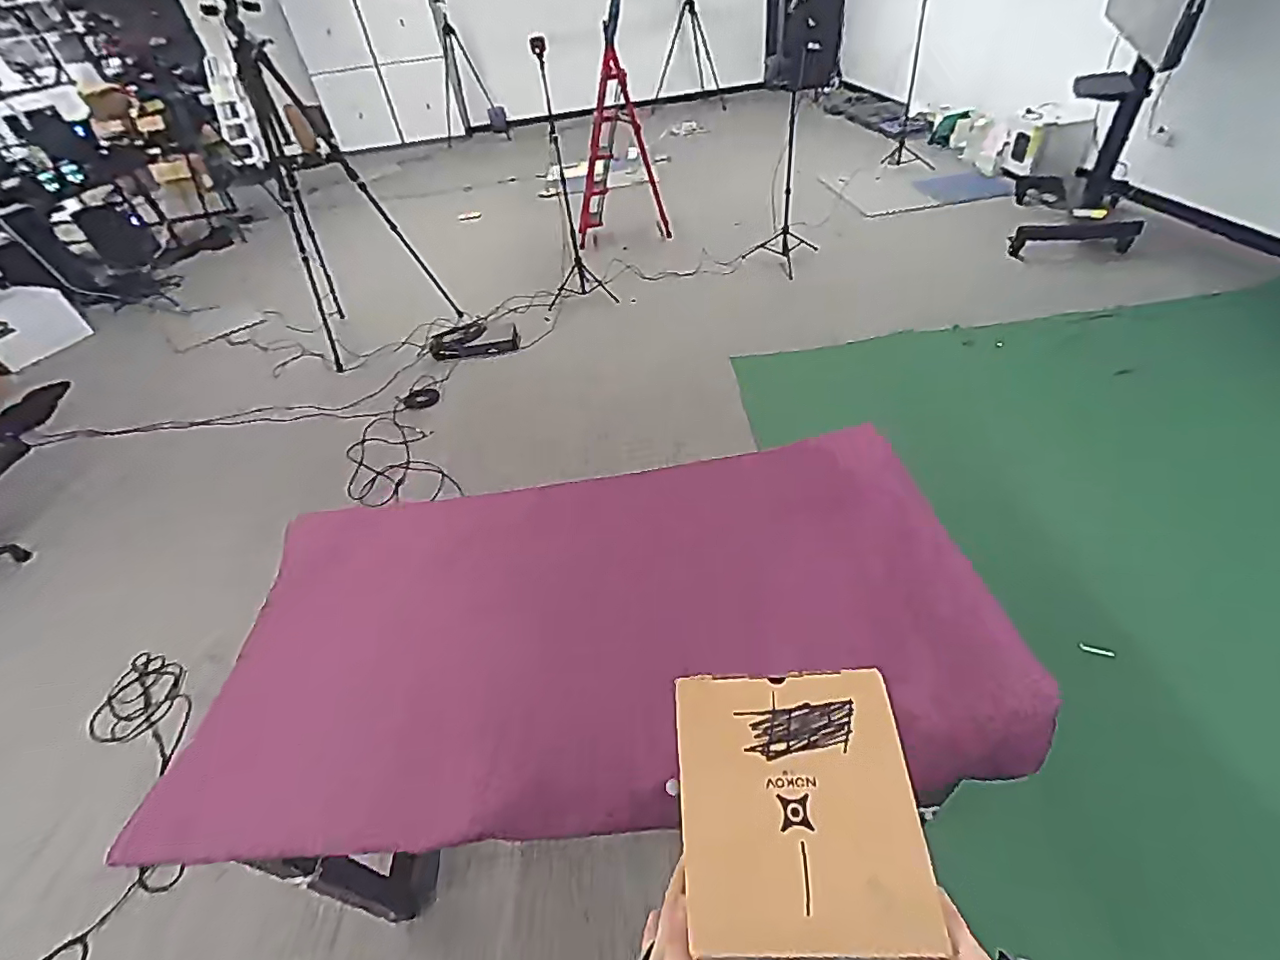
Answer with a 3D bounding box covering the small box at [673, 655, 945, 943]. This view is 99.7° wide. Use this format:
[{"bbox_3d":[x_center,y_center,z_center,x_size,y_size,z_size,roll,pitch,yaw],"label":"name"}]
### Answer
[{"bbox_3d":[0.116,0.259,0.449,0.168,0.176,0.179,-5,56,6],"label":"small box"}]
